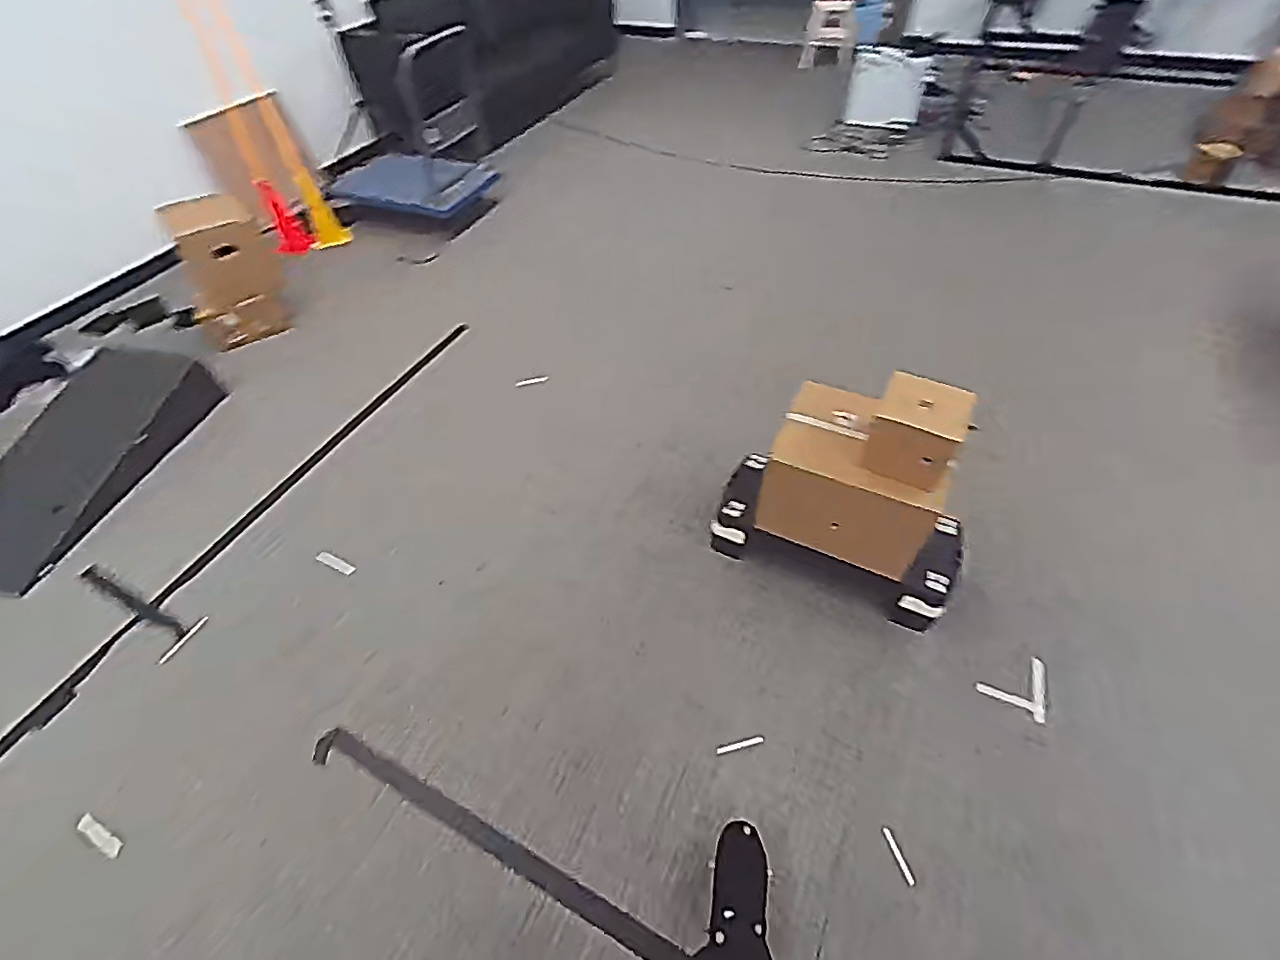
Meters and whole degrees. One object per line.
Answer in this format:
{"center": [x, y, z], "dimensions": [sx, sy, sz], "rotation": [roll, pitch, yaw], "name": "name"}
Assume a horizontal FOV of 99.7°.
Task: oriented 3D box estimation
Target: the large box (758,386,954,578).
{"center": [0.564, 0.004, 1.435], "dimensions": [0.408, 0.320, 0.320], "rotation": [19, 54, 20], "name": "large box"}

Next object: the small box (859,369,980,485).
{"center": [0.618, -0.113, 1.209], "dimensions": [0.179, 0.176, 0.168], "rotation": [23, 56, 22], "name": "small box"}

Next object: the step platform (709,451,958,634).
{"center": [0.554, 0.161, 1.615], "dimensions": [0.684, 0.204, 0.286], "rotation": [24, 56, 23], "name": "step platform"}
